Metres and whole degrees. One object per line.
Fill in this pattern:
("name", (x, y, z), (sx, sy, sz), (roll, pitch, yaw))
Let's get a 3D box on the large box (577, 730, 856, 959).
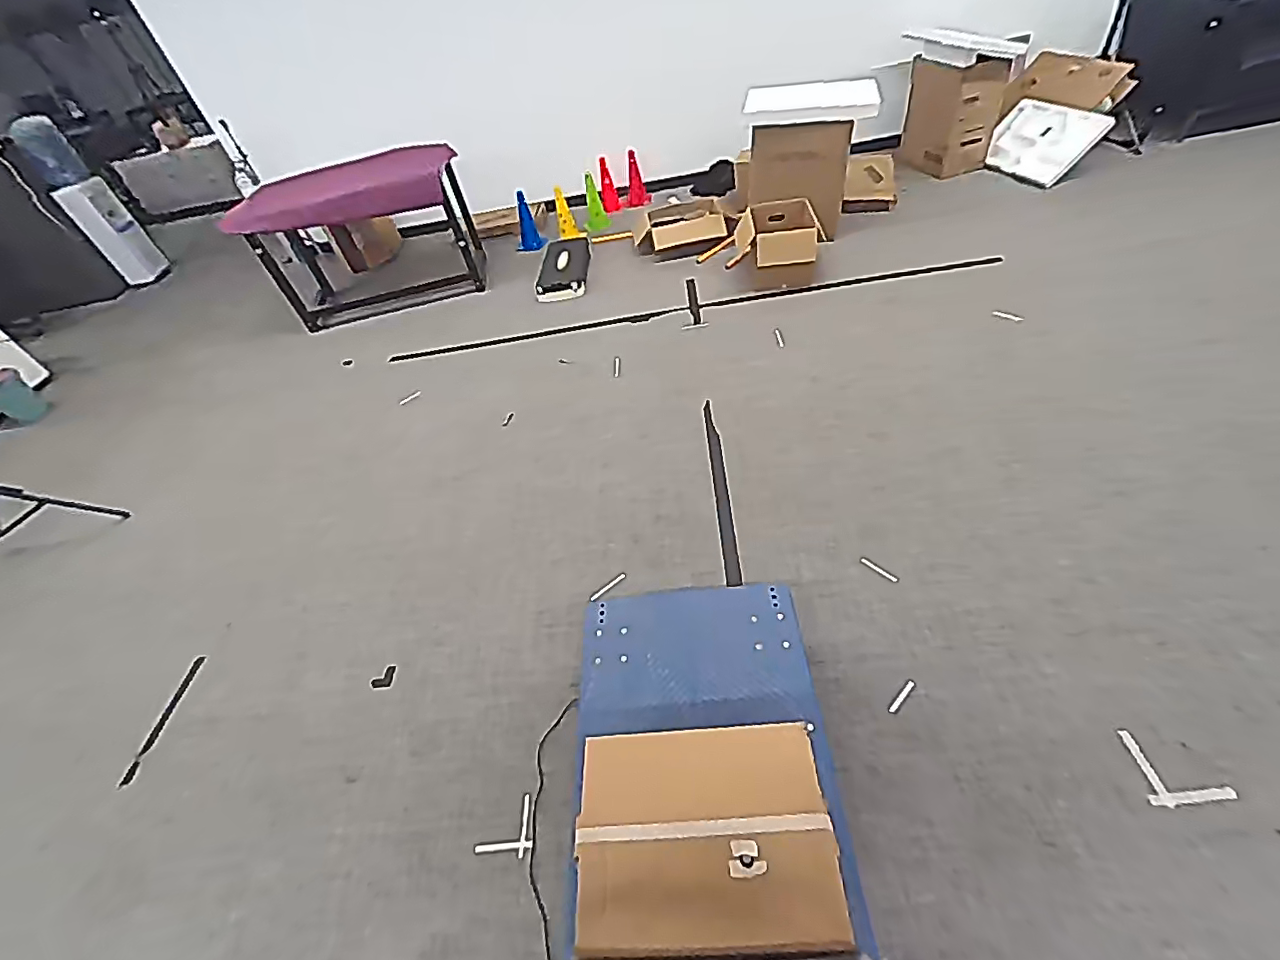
("large box", (0.119, 0.679, 0.966), (0.408, 0.320, 0.320), (-7, 46, 5))
